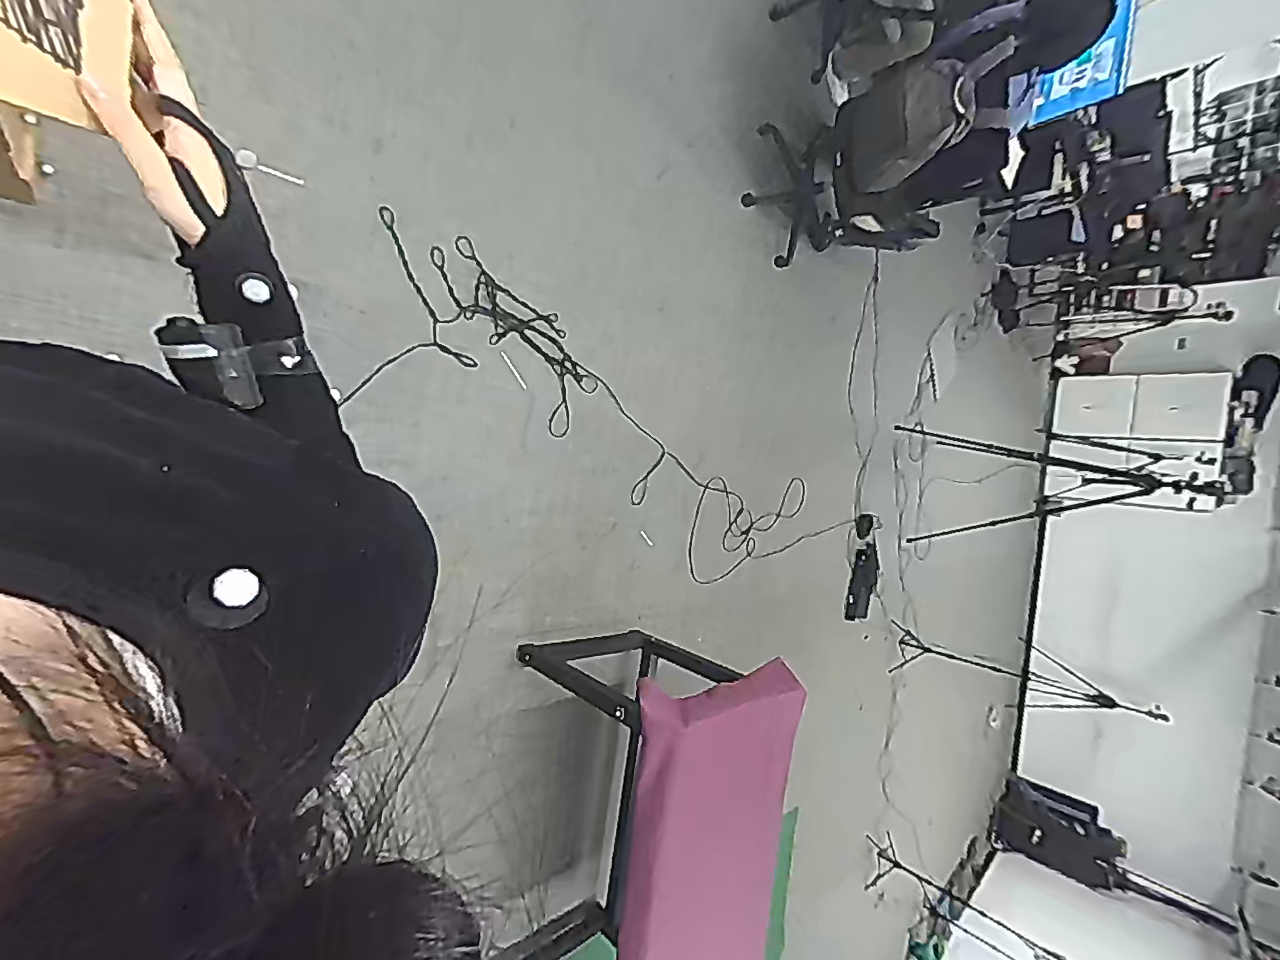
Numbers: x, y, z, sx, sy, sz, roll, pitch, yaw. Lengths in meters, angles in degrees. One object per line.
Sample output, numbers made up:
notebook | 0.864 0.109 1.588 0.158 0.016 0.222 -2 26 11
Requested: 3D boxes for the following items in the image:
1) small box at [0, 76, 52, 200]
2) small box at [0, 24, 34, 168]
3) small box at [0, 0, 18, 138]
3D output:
small box | -1.104 -0.587 0.883 0.179 0.176 0.168 5 92 -45
small box | -0.998 -0.573 0.758 0.179 0.176 0.168 5 93 -44
small box | -0.883 -0.542 0.645 0.179 0.176 0.168 2 94 -44
